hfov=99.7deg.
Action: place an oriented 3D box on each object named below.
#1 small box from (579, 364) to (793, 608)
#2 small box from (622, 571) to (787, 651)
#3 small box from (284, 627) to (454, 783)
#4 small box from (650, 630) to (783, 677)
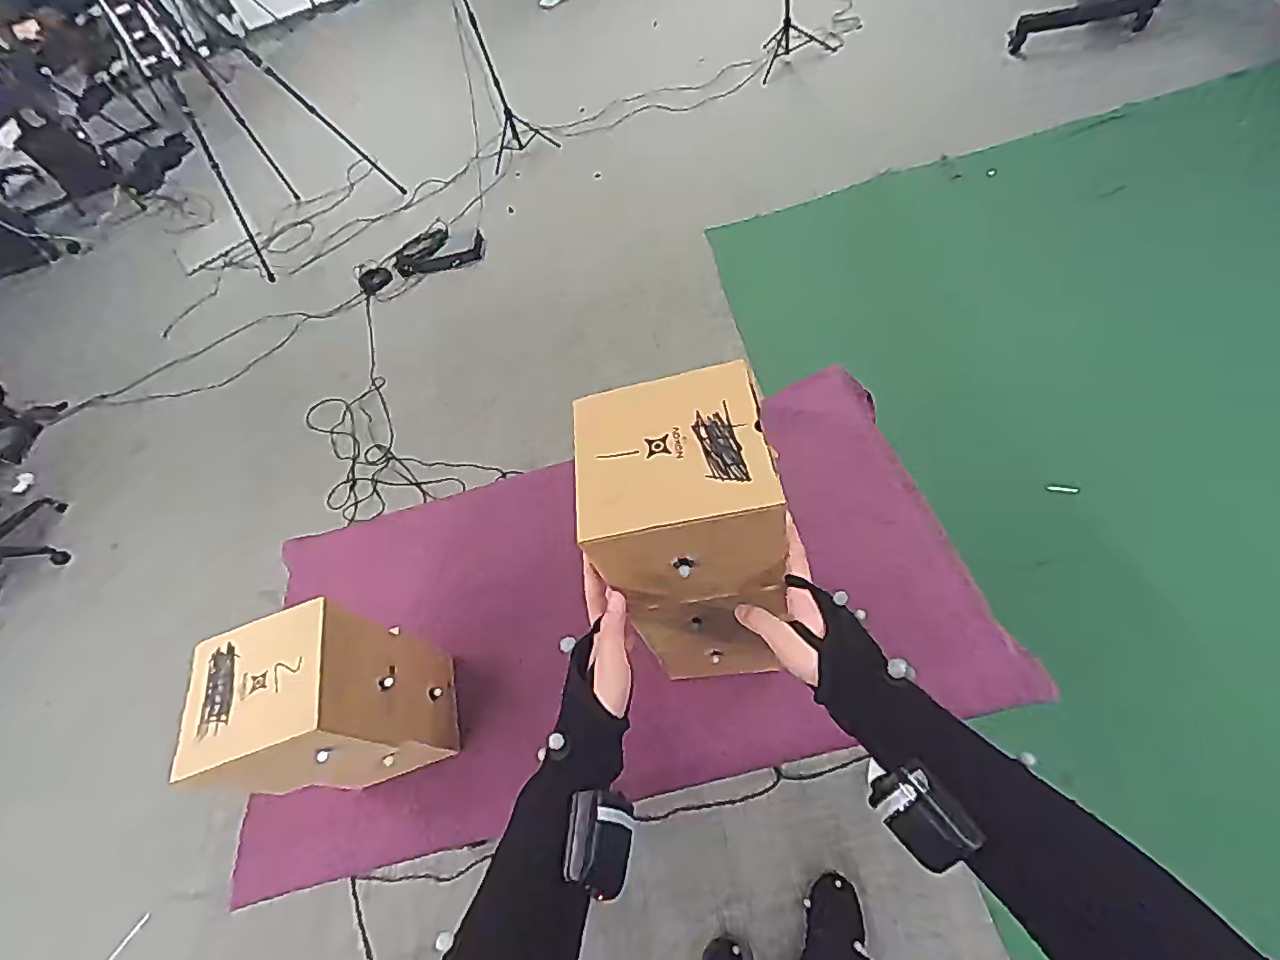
[{"bbox_3d":[0.047,0.015,0.544,0.179,0.176,0.168,-11,56,9],"label":"small box"},{"bbox_3d":[0.081,0.105,0.677,0.179,0.176,0.168,-10,56,9],"label":"small box"},{"bbox_3d":[-0.404,0.353,0.839,0.179,0.176,0.168,-20,55,1],"label":"small box"},{"bbox_3d":[0.116,0.191,0.812,0.179,0.176,0.168,-7,56,10],"label":"small box"}]
